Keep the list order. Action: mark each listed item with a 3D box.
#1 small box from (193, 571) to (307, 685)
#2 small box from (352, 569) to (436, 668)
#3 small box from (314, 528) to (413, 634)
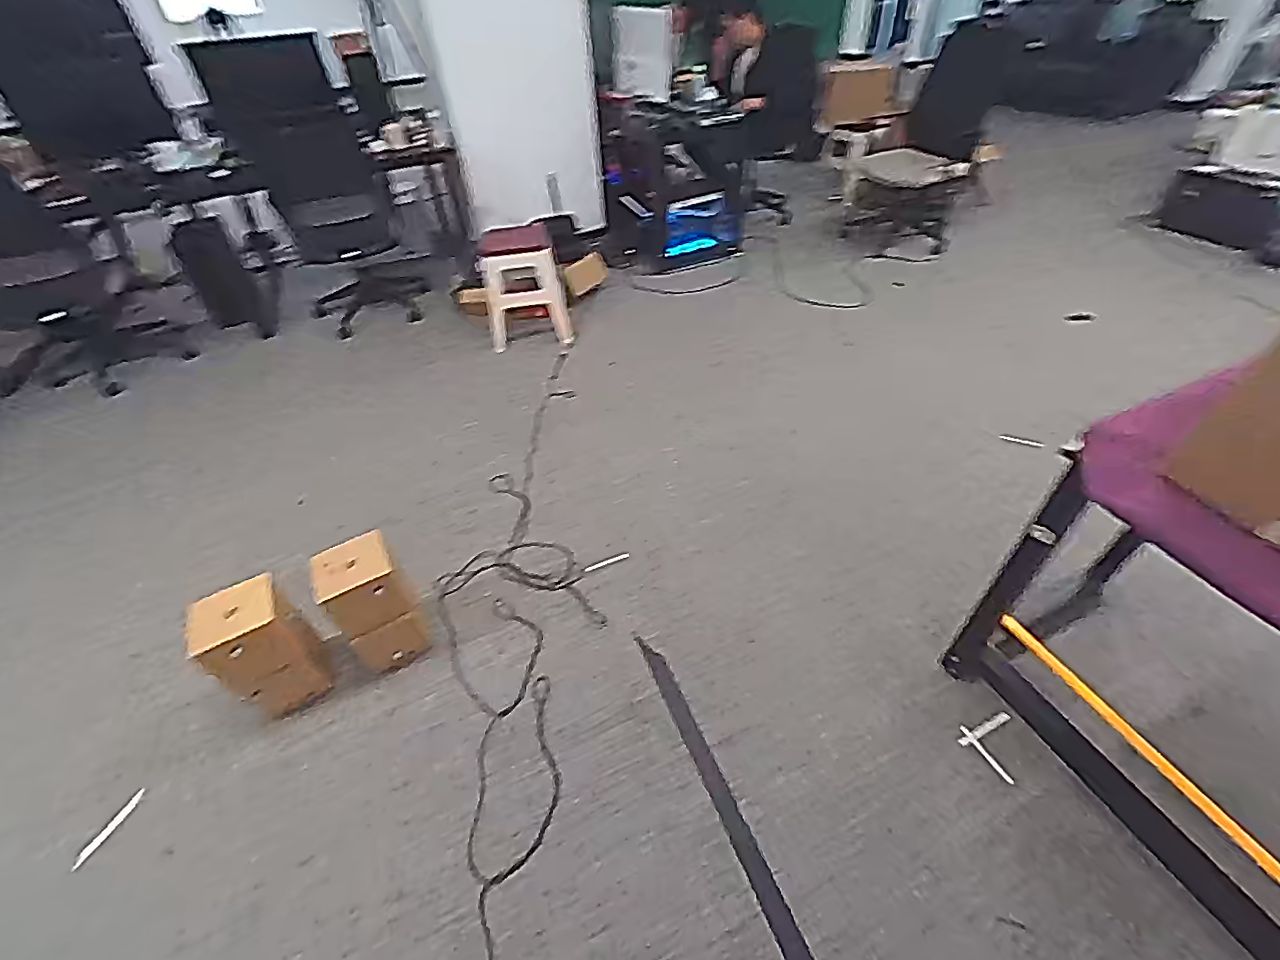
[{"bbox_3d":[-0.944,0.362,1.321,0.179,0.176,0.168,-25,47,-19],"label":"small box"},{"bbox_3d":[-0.690,0.387,1.507,0.168,0.176,0.179,-23,47,-17],"label":"small box"},{"bbox_3d":[-0.706,0.262,1.399,0.179,0.176,0.168,-24,47,-18],"label":"small box"}]
